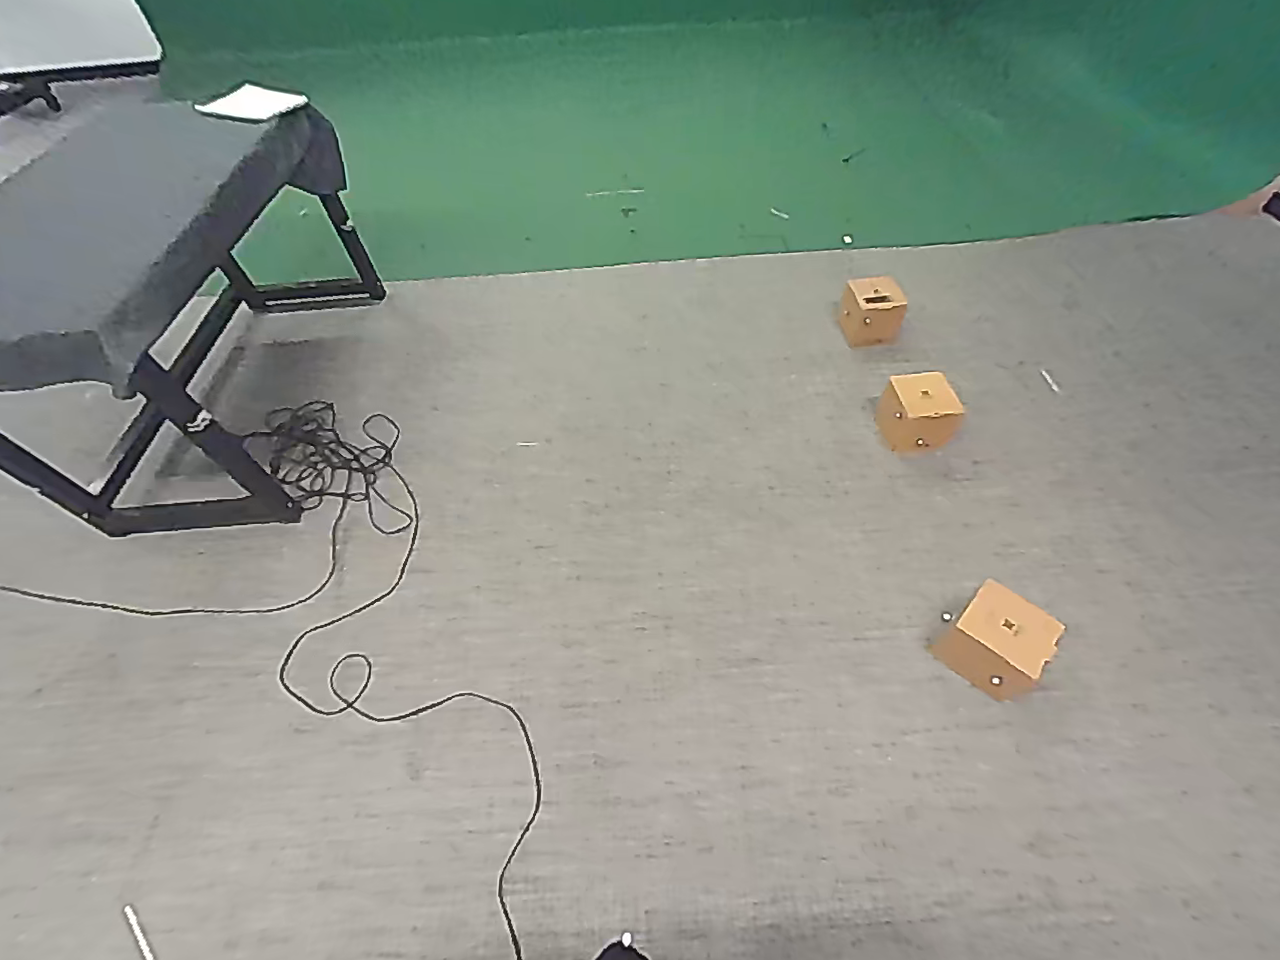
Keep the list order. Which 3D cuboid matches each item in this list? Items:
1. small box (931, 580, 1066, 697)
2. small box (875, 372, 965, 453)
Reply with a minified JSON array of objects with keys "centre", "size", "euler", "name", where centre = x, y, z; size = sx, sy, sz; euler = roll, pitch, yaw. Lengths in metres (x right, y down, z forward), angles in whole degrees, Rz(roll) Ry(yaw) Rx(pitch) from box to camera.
[{"centre":[0.813,0.371,1.241],"size":[0.179,0.176,0.168],"euler":[36,62,27],"name":"small box"},{"centre":[0.851,-0.206,1.665],"size":[0.168,0.176,0.179],"euler":[-6,54,-1],"name":"small box"}]
